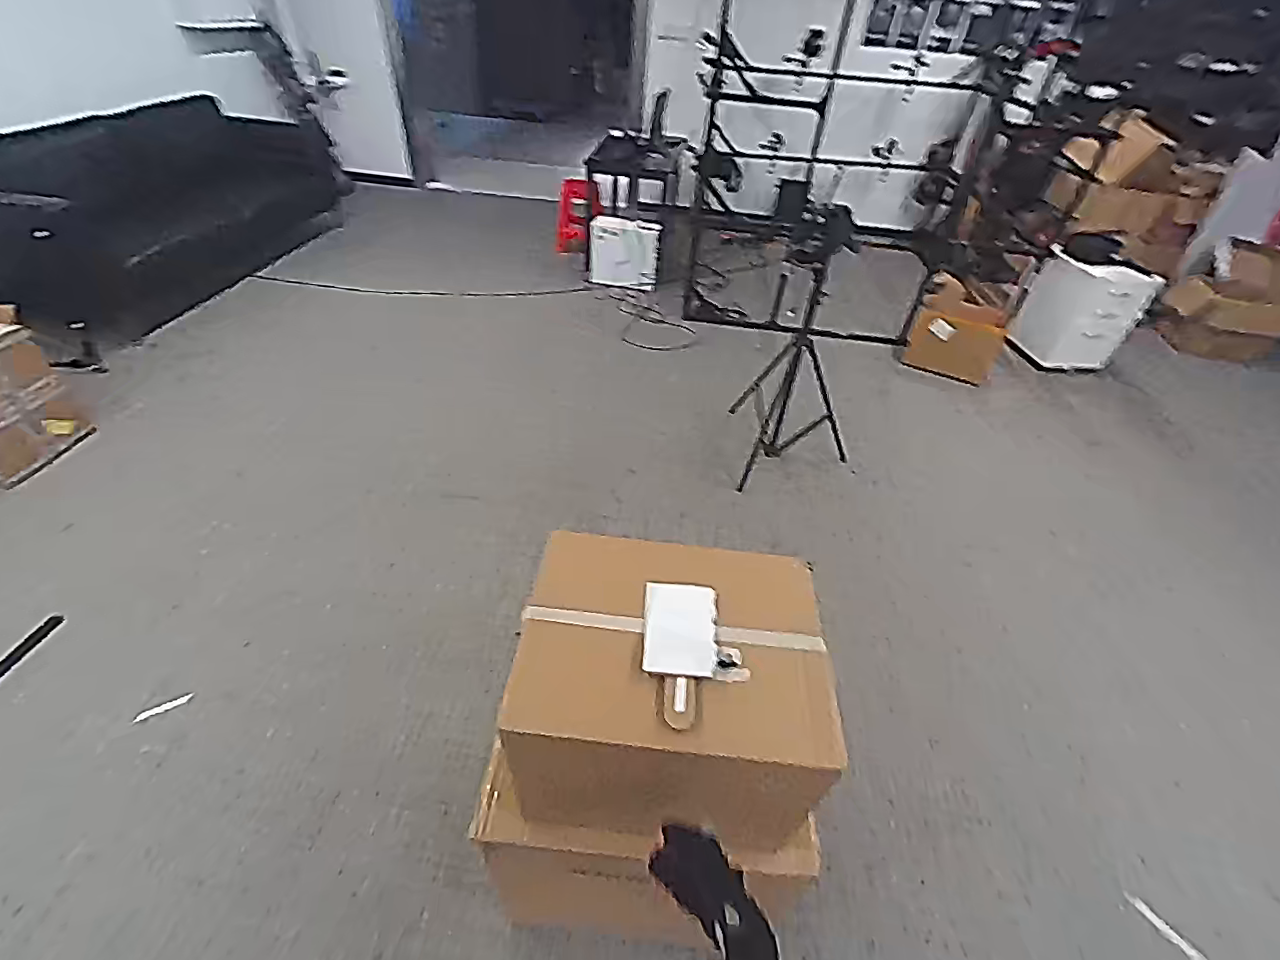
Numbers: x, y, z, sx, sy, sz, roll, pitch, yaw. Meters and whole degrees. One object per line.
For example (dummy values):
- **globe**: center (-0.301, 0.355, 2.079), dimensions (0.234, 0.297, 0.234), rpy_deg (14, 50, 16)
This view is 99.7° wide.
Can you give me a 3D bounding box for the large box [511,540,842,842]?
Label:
- **large box**: center (0.041, 0.326, 0.844), dimensions (0.408, 0.320, 0.320), rpy_deg (7, 41, 1)
